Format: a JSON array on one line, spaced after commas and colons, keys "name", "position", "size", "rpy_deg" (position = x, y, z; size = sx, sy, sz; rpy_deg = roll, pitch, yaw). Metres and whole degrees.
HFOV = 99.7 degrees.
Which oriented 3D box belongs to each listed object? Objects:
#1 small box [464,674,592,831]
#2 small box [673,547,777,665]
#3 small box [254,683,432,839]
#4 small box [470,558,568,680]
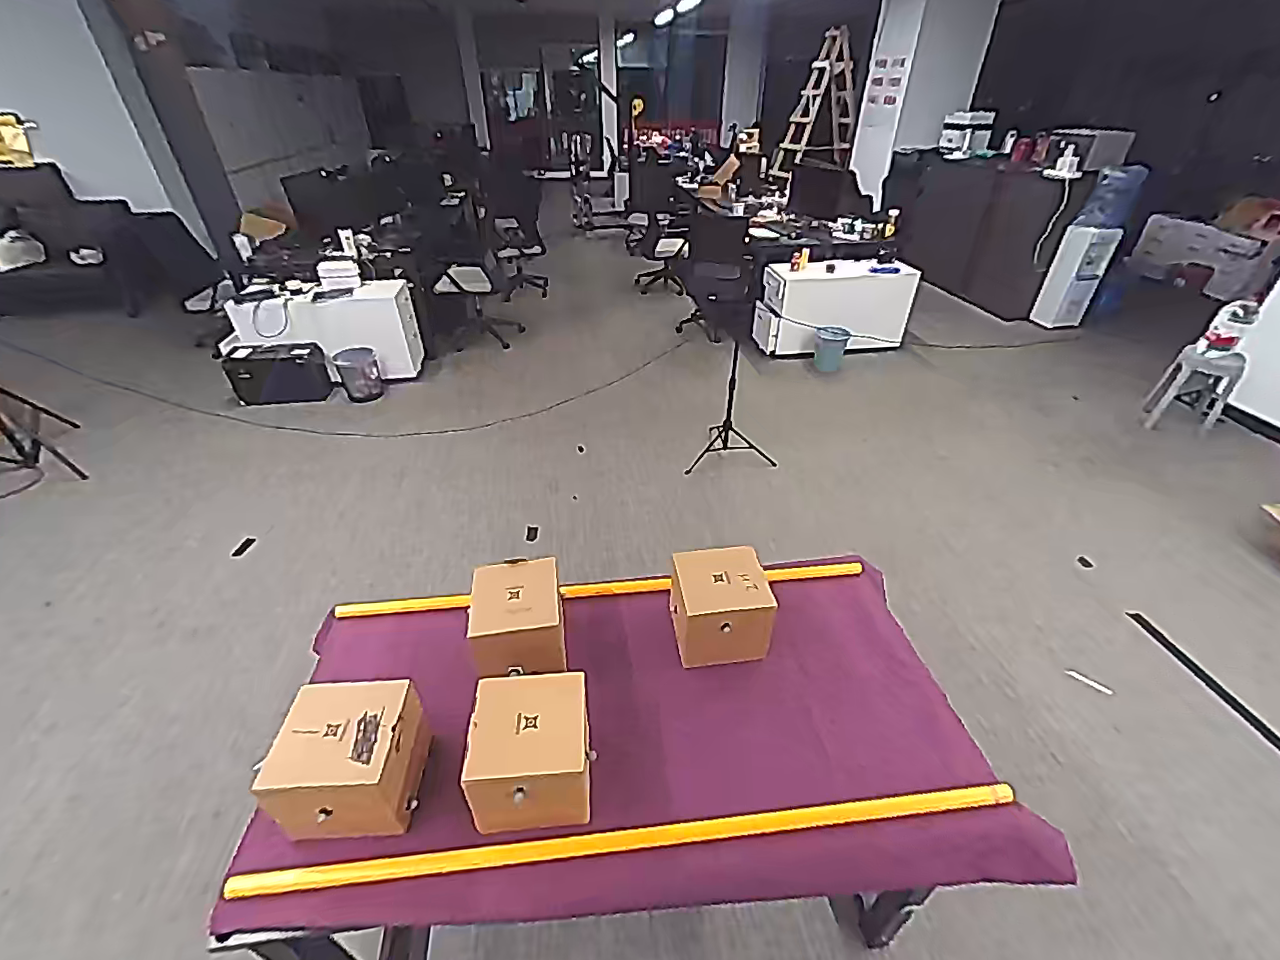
[{"name": "small box", "position": [-0.166, 0.437, 0.871], "size": [0.179, 0.176, 0.168], "rpy_deg": [-3, 36, -3]}, {"name": "small box", "position": [0.164, 0.260, 1.111], "size": [0.179, 0.176, 0.168], "rpy_deg": [-4, 38, -6]}, {"name": "small box", "position": [-0.449, 0.444, 0.857], "size": [0.179, 0.176, 0.168], "rpy_deg": [-2, 36, -2]}, {"name": "small box", "position": [-0.235, 0.283, 1.082], "size": [0.168, 0.176, 0.179], "rpy_deg": [-6, 37, -7]}]
